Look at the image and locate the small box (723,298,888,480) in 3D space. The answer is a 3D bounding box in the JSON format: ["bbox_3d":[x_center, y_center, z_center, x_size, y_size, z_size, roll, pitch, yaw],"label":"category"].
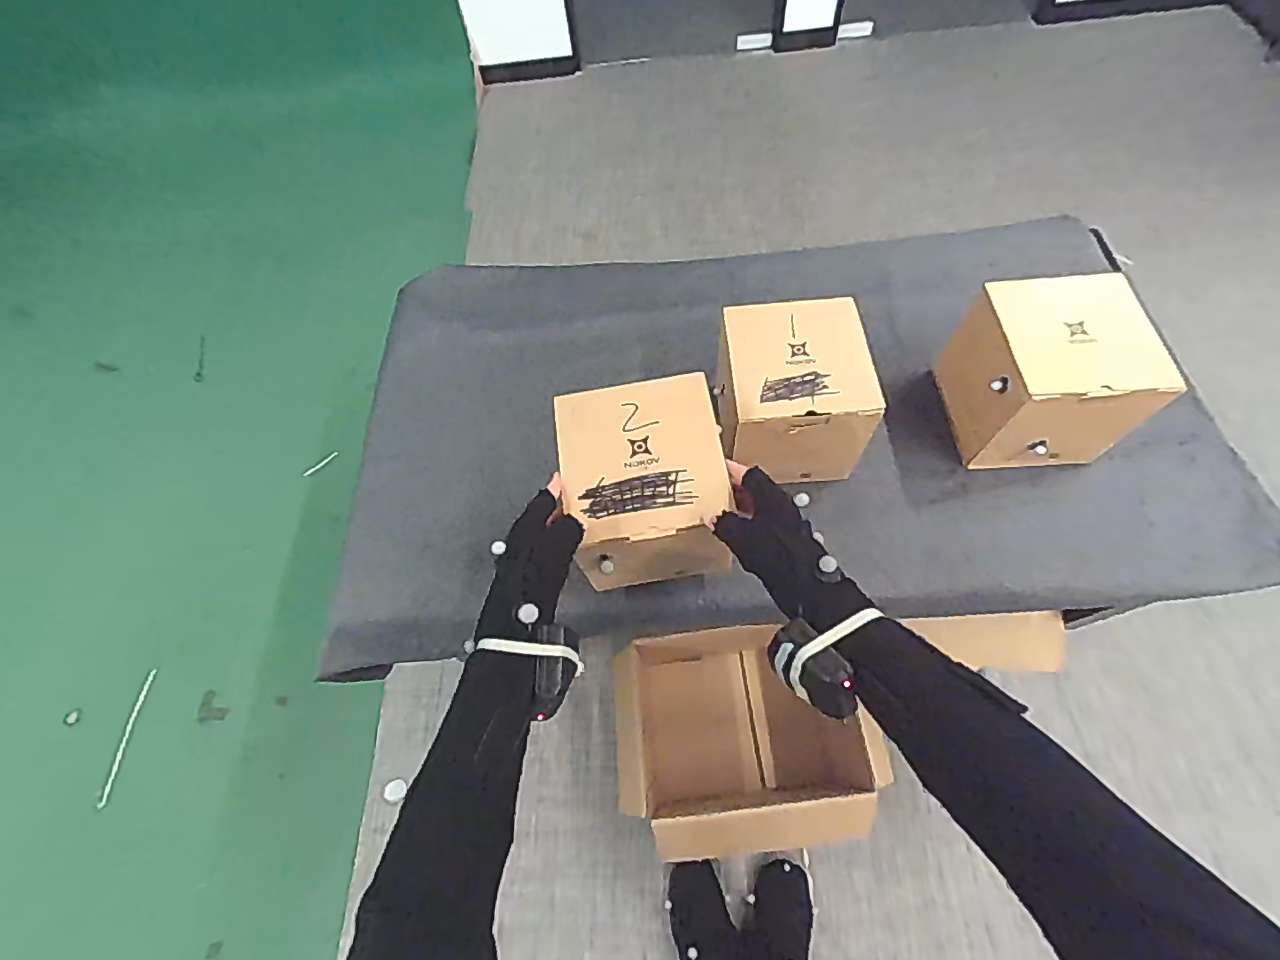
[{"bbox_3d":[0.200,-0.108,0.709,0.168,0.176,0.179,-4,62,4],"label":"small box"}]

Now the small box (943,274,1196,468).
[{"bbox_3d":[0.520,-0.133,0.692,0.168,0.176,0.179,-4,63,4],"label":"small box"}]
